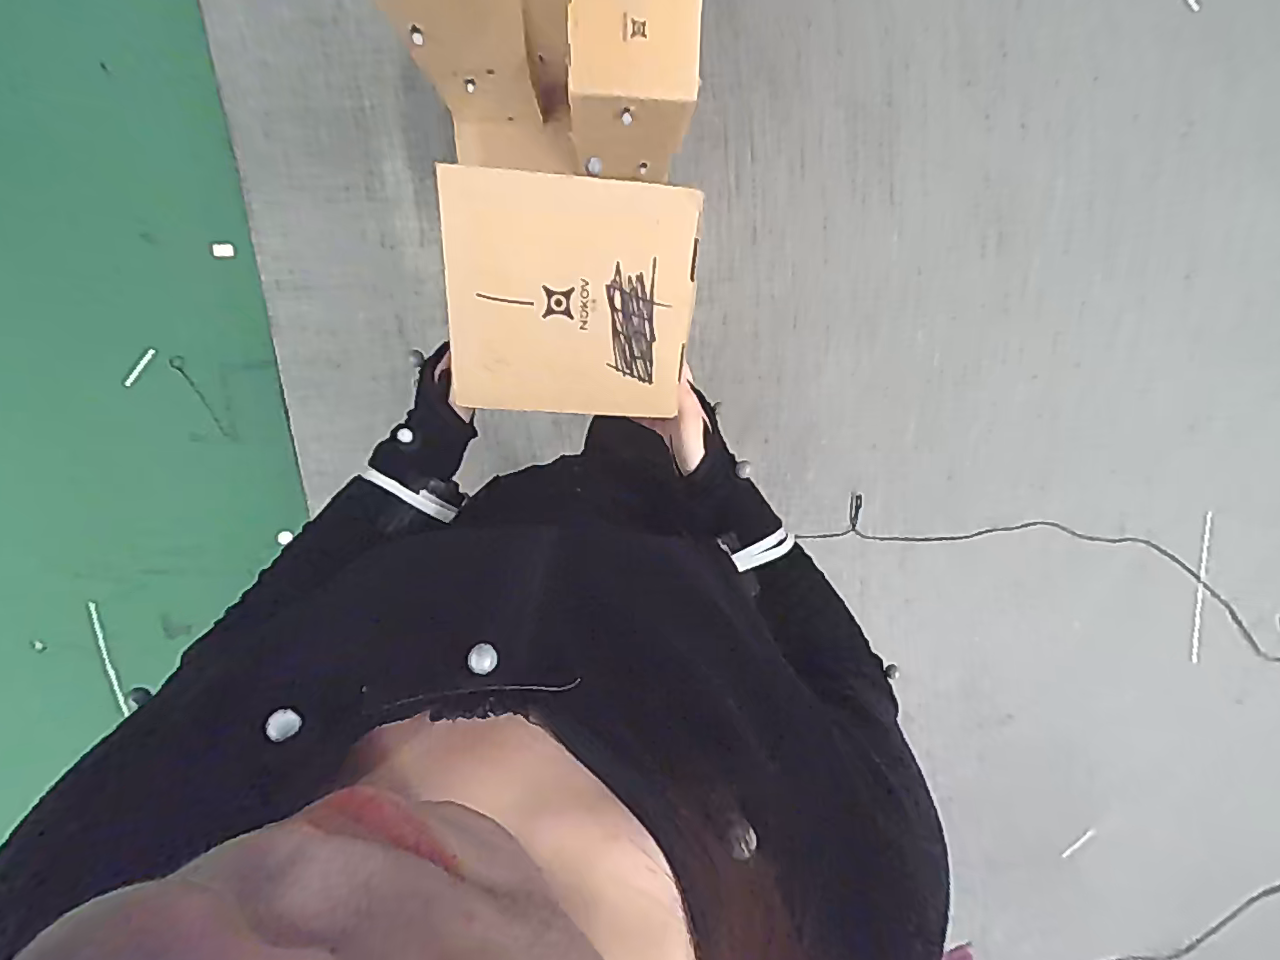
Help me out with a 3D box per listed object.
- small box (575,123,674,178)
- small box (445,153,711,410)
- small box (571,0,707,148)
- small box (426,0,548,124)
[{"bbox_3d":[-0.023,-0.643,0.939,0.168,0.176,0.179,1,100,-4],"label":"small box"},{"bbox_3d":[-0.051,-0.169,0.457,0.179,0.176,0.168,3,118,-5],"label":"small box"},{"bbox_3d":[-0.006,-0.605,0.782,0.179,0.176,0.168,2,101,-3],"label":"small box"},{"bbox_3d":[-0.251,-0.740,0.914,0.168,0.176,0.179,1,100,-1],"label":"small box"}]
